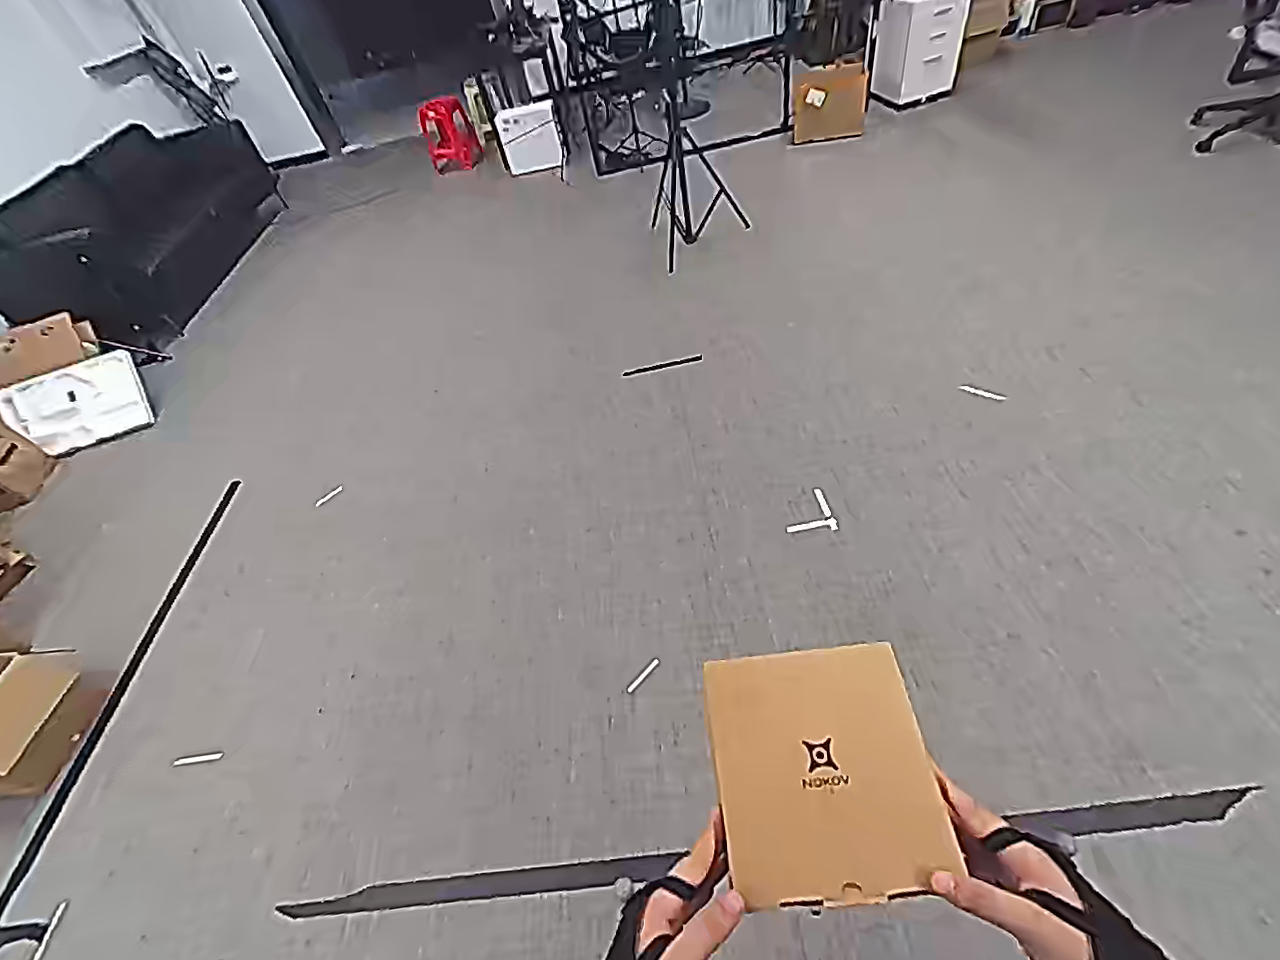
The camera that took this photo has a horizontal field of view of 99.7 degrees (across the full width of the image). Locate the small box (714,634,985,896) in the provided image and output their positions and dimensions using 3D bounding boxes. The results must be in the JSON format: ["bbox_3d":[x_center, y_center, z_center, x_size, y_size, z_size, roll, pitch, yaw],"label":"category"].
[{"bbox_3d":[0.160,0.258,0.489,0.168,0.176,0.179,-7,55,3],"label":"small box"}]
